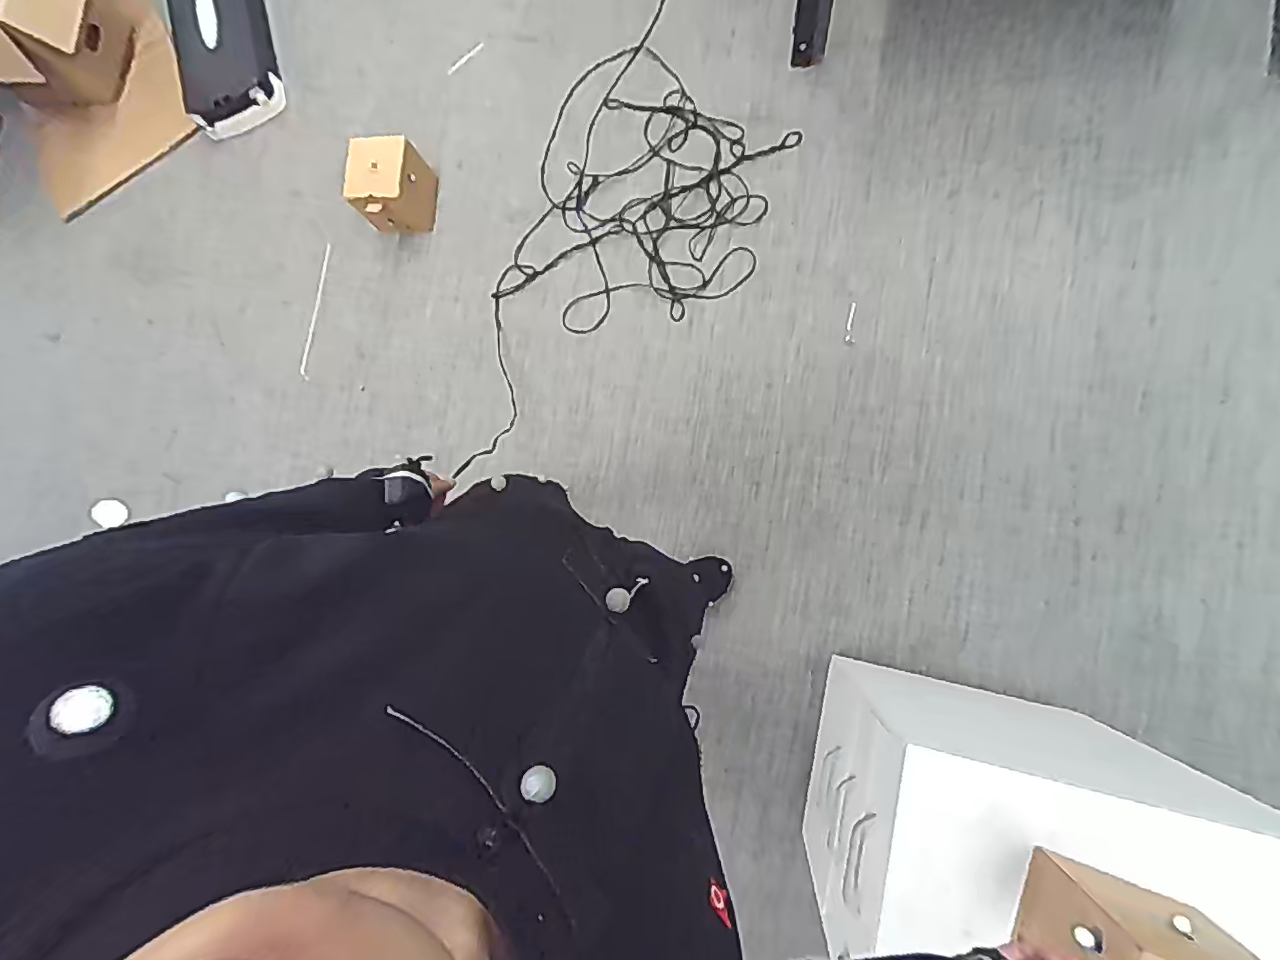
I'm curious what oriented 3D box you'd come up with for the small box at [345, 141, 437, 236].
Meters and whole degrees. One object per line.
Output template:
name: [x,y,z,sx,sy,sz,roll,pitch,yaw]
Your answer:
small box: [-0.691,-0.814,1.519,0.168,0.176,0.179,3,85,9]
